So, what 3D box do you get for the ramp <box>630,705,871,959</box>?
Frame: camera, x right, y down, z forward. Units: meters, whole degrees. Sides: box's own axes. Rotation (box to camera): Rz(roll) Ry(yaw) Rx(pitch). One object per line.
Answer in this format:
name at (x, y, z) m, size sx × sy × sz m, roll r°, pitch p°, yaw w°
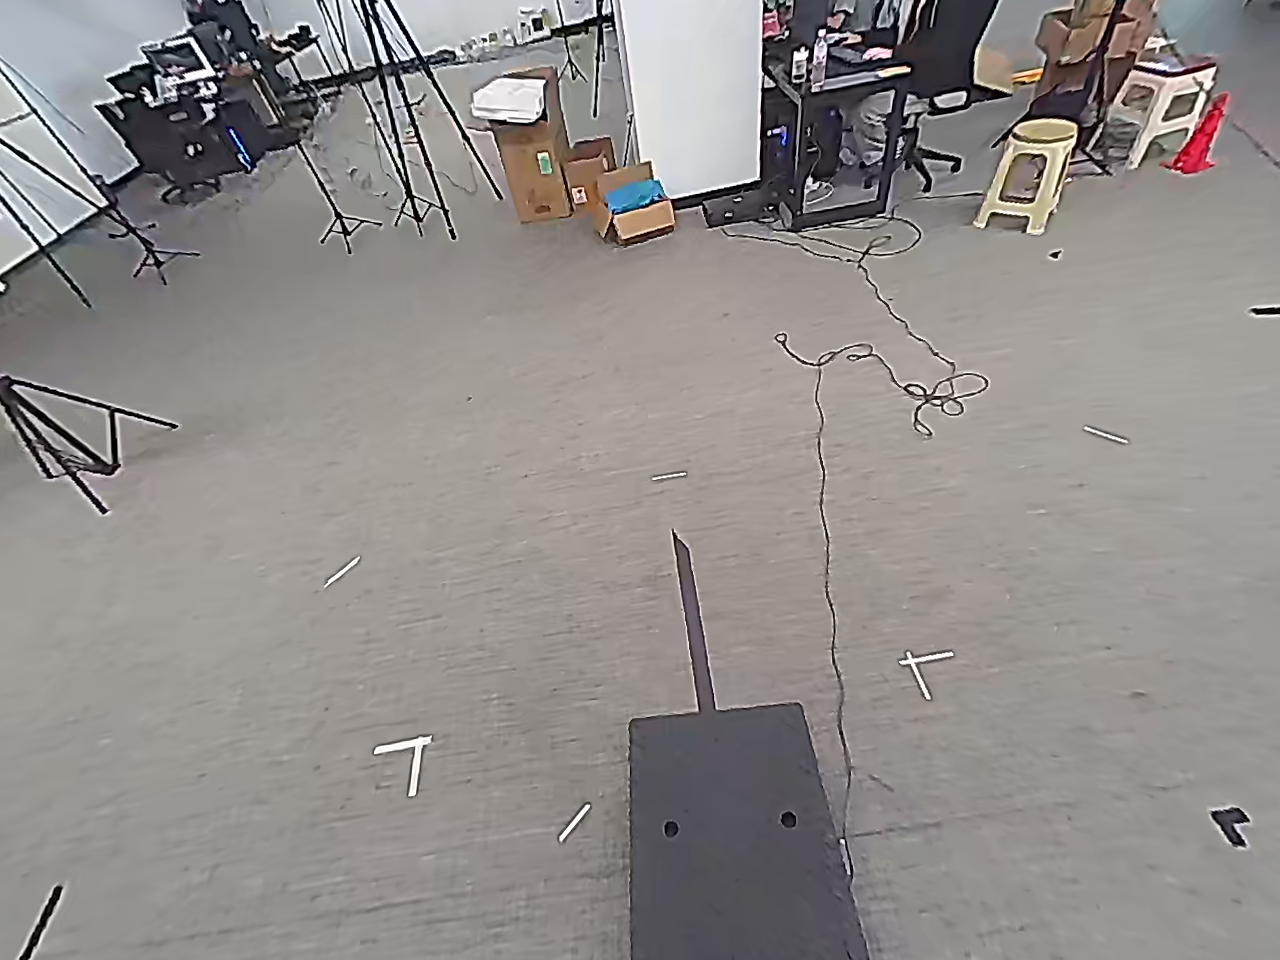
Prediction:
ramp at (0.220, 0.968, 1.139) m, size 0.509 × 0.206 × 0.991 m, roll -10°, pitch 47°, yaw 4°
